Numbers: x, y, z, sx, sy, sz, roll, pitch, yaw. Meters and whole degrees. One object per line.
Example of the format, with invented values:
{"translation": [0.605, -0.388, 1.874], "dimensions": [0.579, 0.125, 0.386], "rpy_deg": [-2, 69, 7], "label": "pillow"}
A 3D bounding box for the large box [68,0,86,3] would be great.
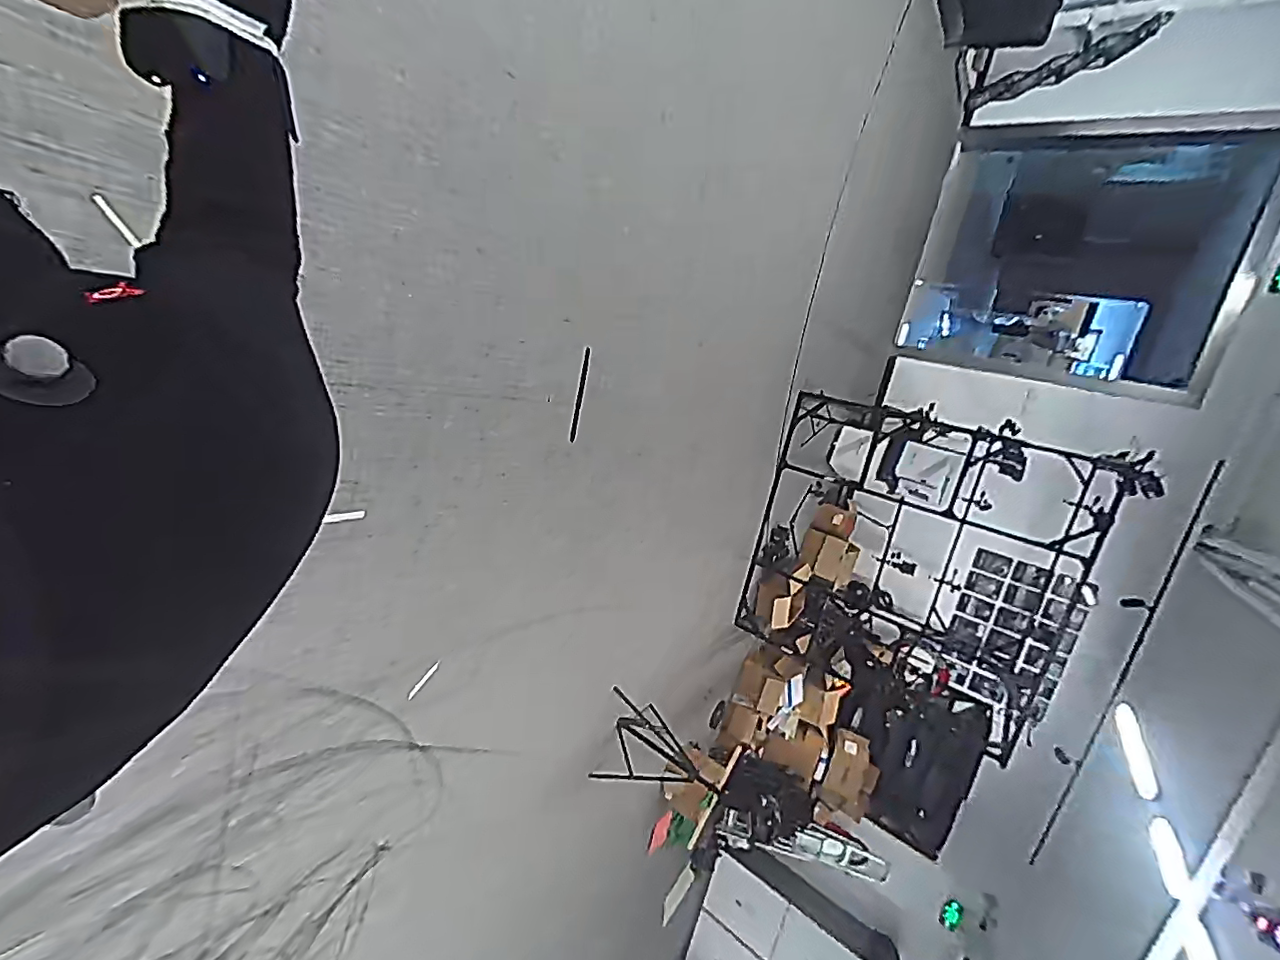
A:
{"translation": [-0.503, -0.521, 0.241], "dimensions": [0.408, 0.320, 0.320], "rpy_deg": [-8, 119, -53], "label": "large box"}
